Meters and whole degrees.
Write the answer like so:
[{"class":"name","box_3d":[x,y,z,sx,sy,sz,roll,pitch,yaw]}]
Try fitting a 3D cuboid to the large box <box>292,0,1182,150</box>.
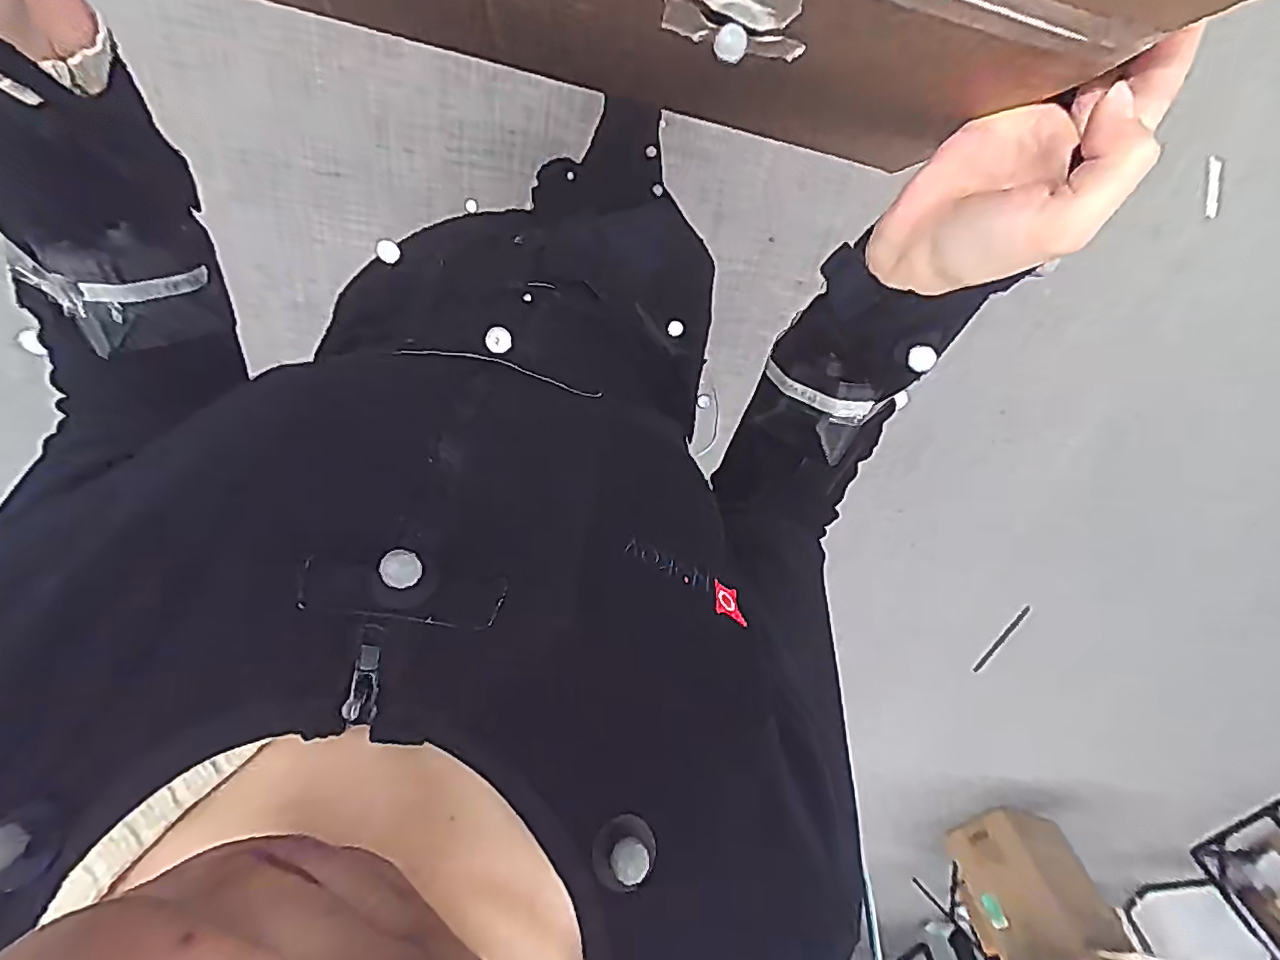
[{"class":"large box","box_3d":[0.005,-0.332,0.120,0.408,0.320,0.320,8,105,-9]}]
